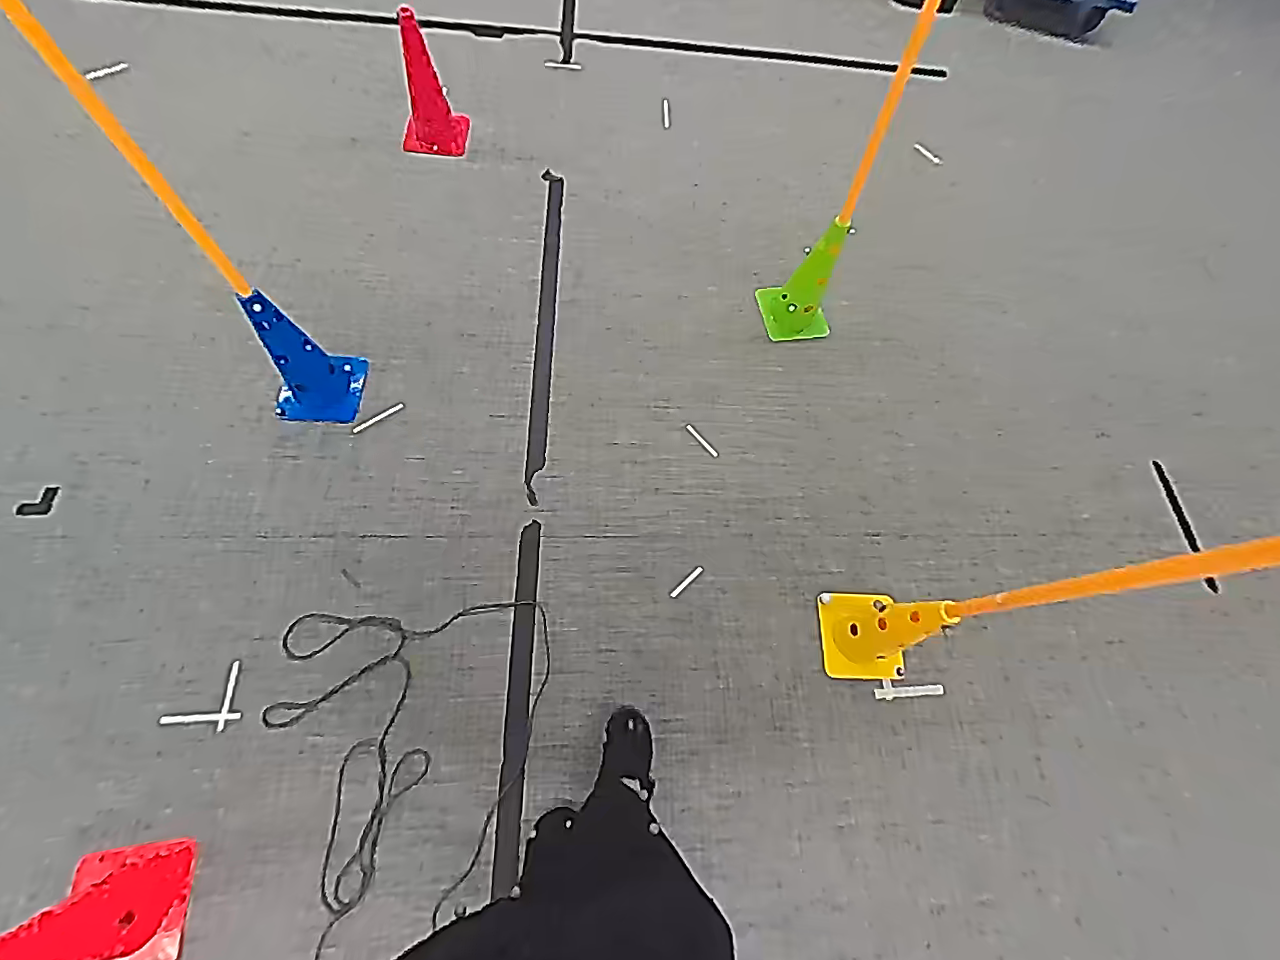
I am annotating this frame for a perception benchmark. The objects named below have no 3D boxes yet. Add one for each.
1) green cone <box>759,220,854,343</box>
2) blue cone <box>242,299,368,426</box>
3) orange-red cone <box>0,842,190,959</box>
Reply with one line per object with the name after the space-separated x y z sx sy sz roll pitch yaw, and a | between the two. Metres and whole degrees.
0.498 -0.580 1.528 0.200 0.368 0.202 -8 70 -9 | green cone
-0.814 -0.296 1.279 0.193 0.380 0.192 4 67 -4 | blue cone
-0.916 0.710 0.818 0.199 0.360 0.198 -3 68 -9 | orange-red cone
